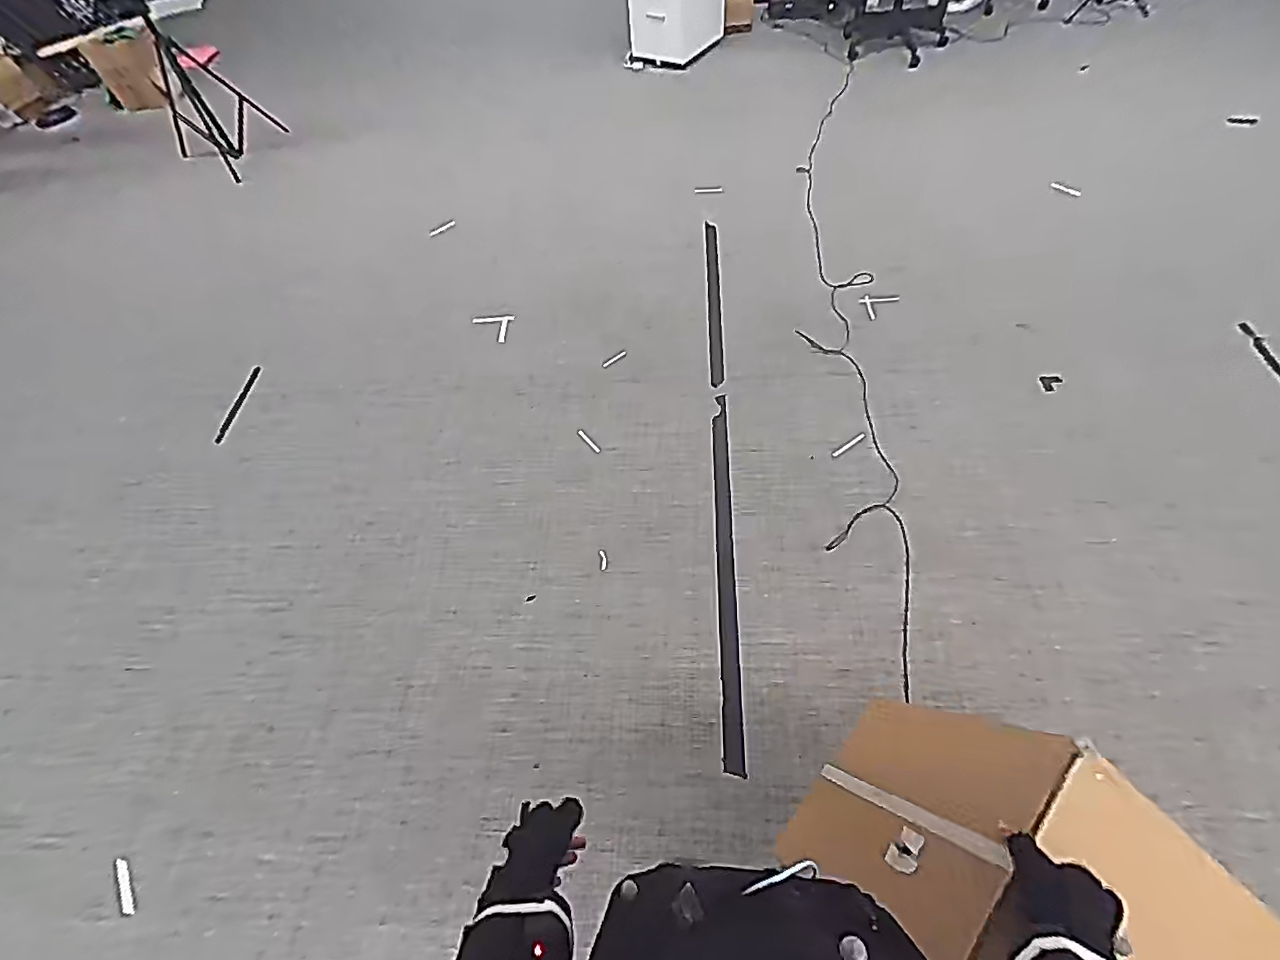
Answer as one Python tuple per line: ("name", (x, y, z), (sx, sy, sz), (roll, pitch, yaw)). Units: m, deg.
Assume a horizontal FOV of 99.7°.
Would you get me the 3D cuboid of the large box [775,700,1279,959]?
("large box", (0.458, 0.541, 0.717), (0.320, 0.408, 0.320), (43, 72, 3))
